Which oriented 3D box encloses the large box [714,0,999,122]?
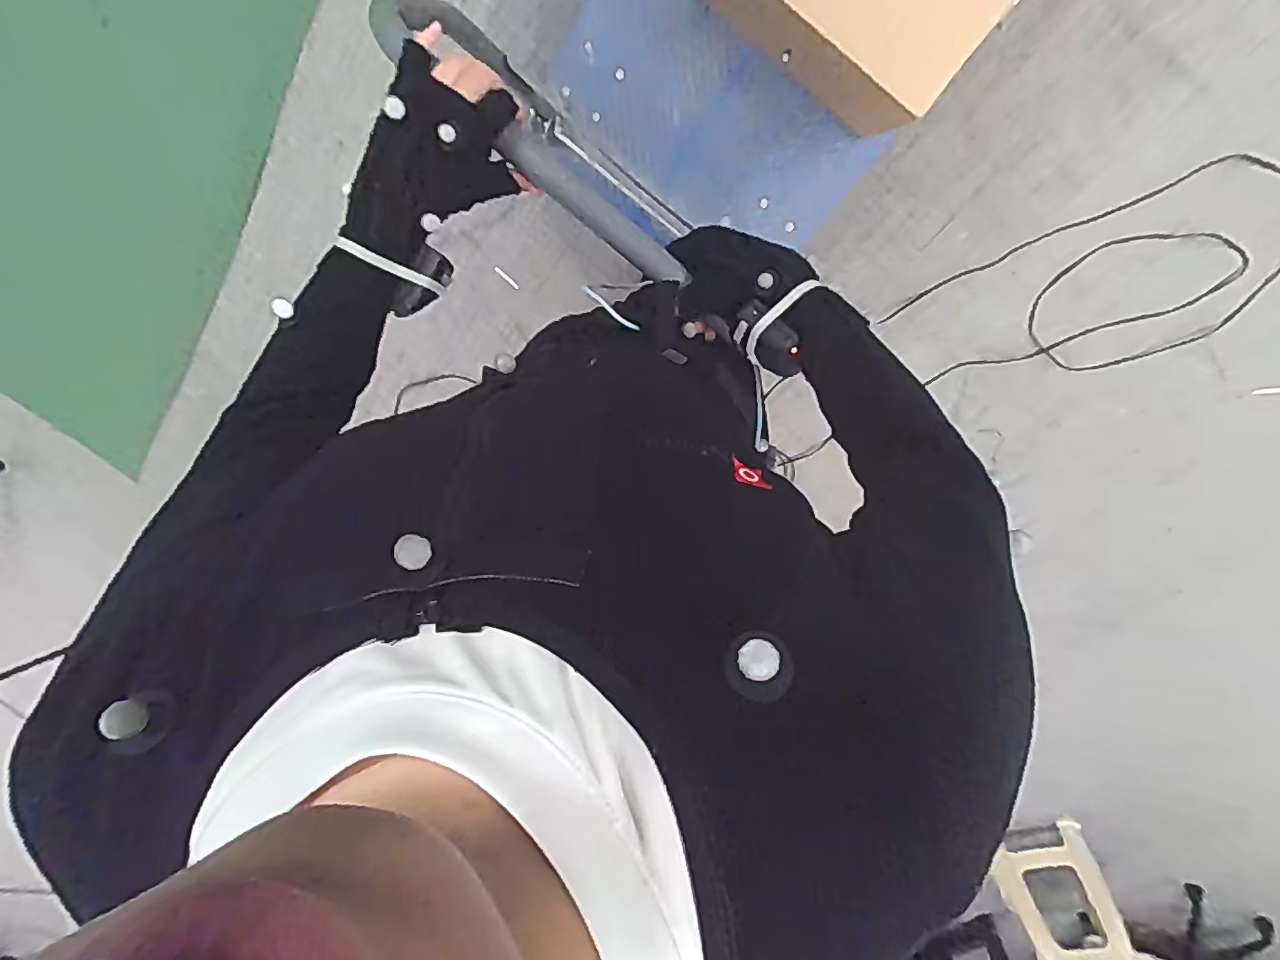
[{"bbox_3d":[0.319,-0.788,0.766,0.408,0.320,0.320,33,118,-9],"label":"large box"}]
